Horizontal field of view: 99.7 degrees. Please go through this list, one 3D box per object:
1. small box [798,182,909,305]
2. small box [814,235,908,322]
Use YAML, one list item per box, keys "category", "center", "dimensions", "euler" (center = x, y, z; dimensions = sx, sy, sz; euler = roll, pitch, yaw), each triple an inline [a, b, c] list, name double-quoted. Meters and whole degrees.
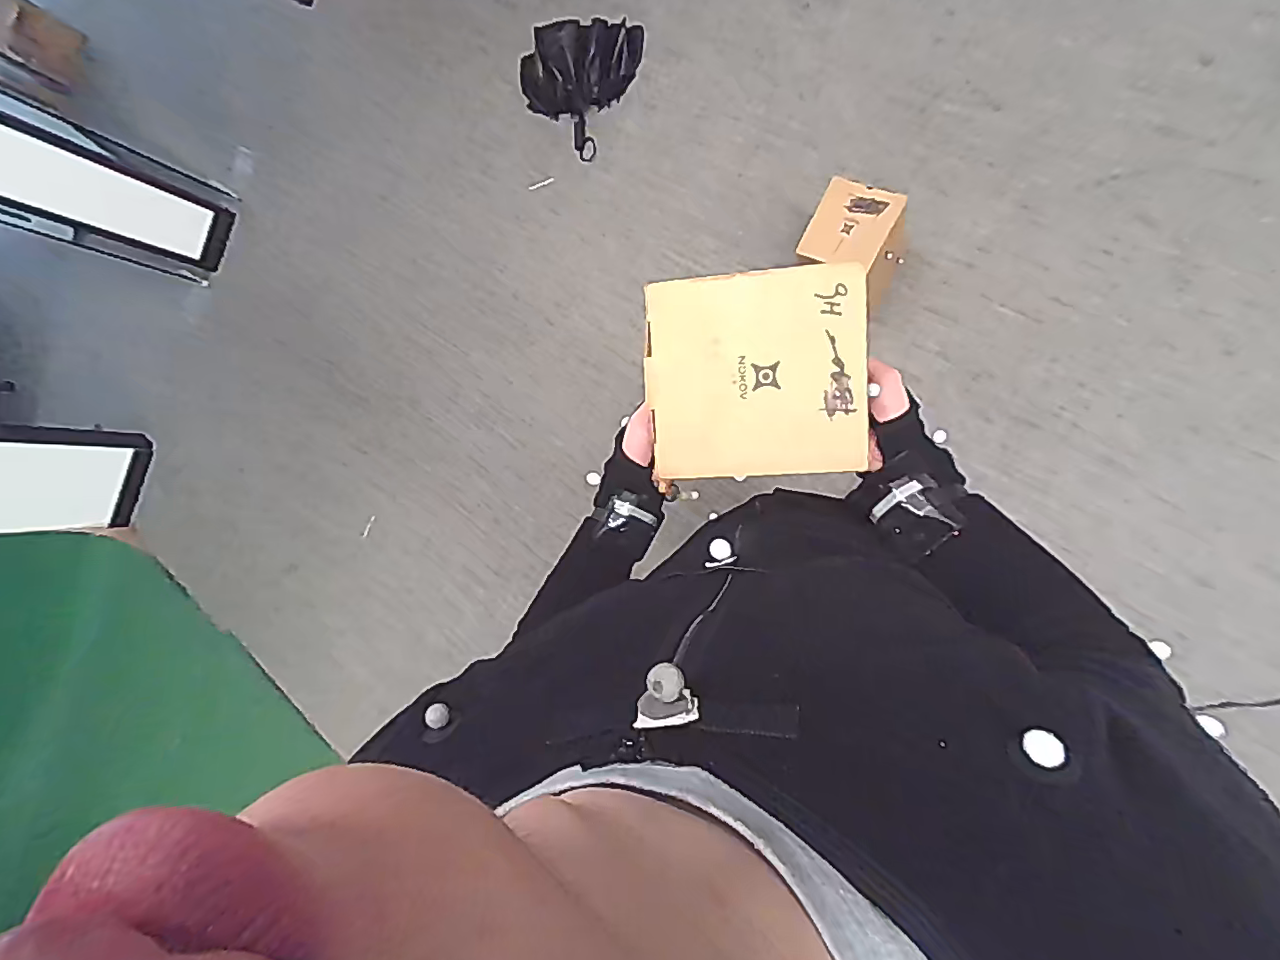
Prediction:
- category: "small box"
  center: [0.480, -0.526, 1.221]
  dimensions: [0.168, 0.176, 0.179]
  euler: [31, 101, 22]
- category: "small box"
  center: [0.552, -0.527, 1.369]
  dimensions: [0.168, 0.176, 0.179]
  euler: [31, 102, 22]
